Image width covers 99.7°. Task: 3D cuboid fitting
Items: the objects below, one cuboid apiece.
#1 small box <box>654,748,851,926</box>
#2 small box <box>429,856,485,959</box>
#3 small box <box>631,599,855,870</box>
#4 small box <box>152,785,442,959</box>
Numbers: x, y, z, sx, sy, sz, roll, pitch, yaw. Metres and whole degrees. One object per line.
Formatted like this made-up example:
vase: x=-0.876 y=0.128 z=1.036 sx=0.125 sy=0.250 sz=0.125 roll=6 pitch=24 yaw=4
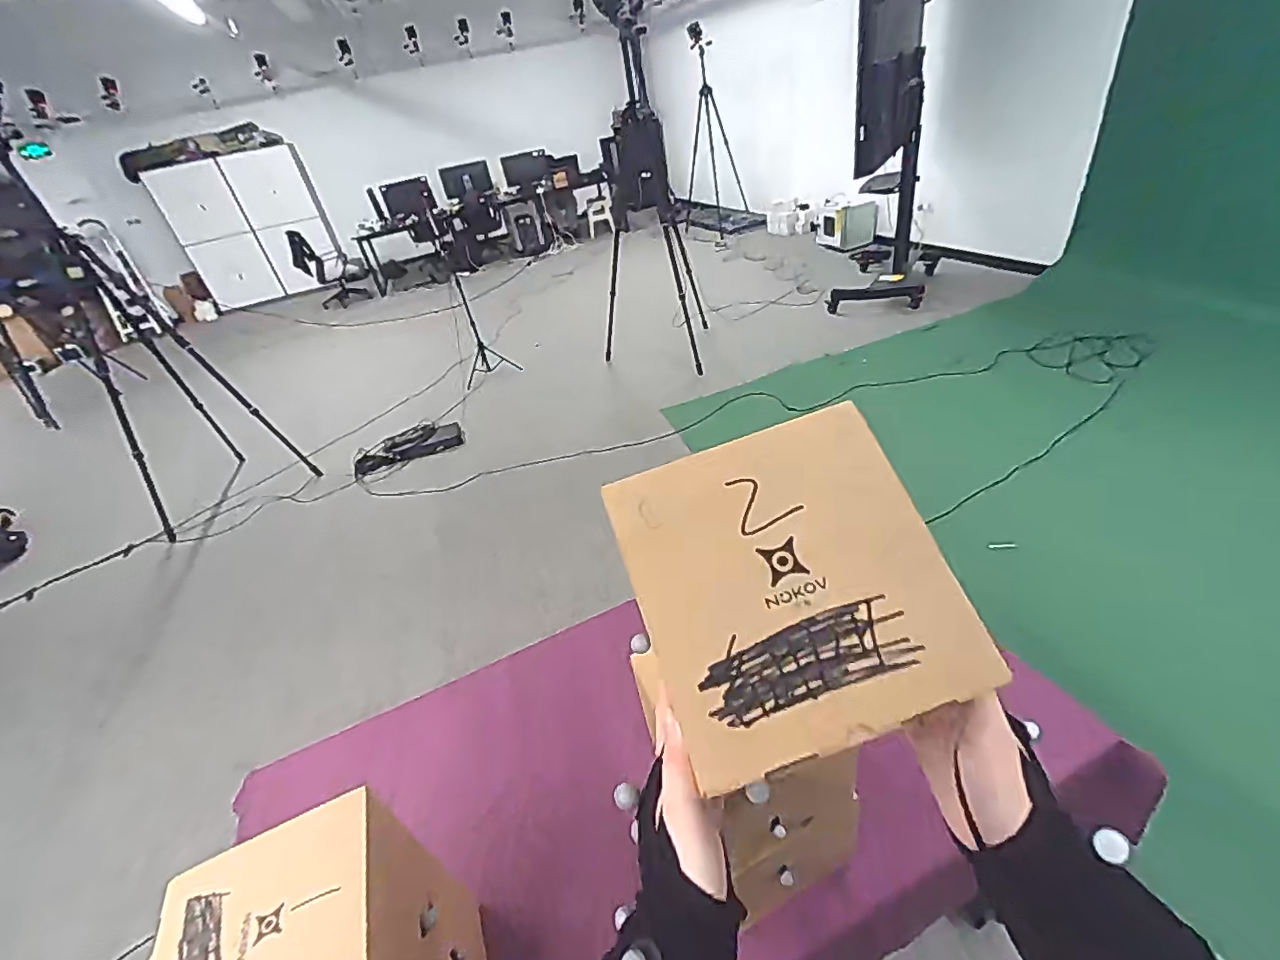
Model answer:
small box: x=0.141 y=0.404 z=0.677 sx=0.179 sy=0.176 sz=0.168 roll=-23 pitch=36 yaw=-14
small box: x=-0.267 y=0.561 z=0.581 sx=0.168 sy=0.176 sz=0.179 roll=-21 pitch=35 yaw=-14
small box: x=0.106 y=0.270 z=0.590 sx=0.168 sy=0.176 sz=0.179 roll=-21 pitch=36 yaw=-13
small box: x=-0.297 y=0.429 z=0.487 sx=0.179 sy=0.176 sz=0.168 roll=-21 pitch=36 yaw=-14
